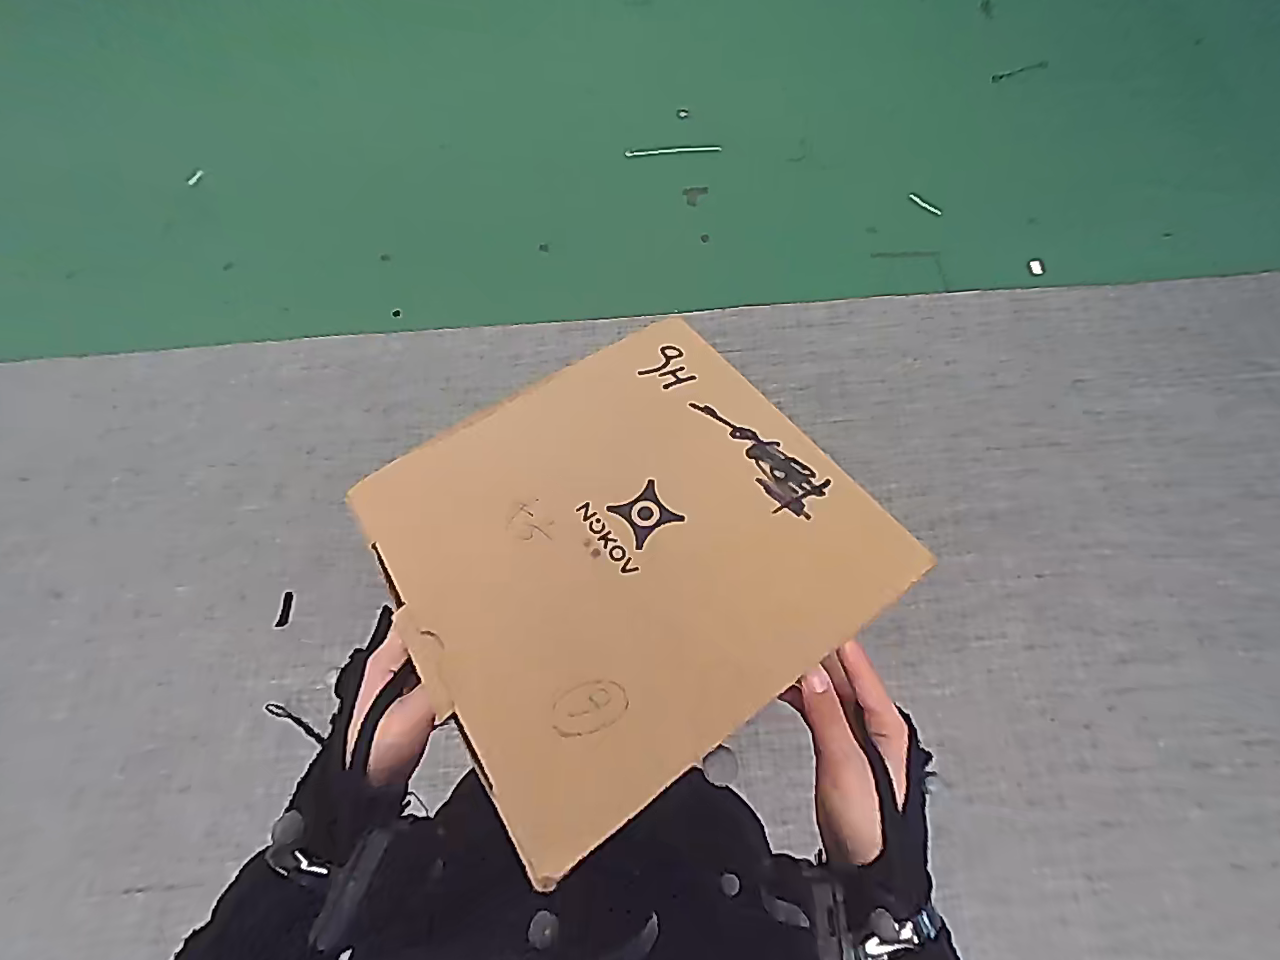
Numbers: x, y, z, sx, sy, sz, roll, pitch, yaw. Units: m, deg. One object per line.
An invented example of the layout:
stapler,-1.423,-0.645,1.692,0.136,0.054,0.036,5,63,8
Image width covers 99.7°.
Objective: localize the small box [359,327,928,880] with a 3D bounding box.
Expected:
small box,-0.001,0.062,0.284,0.179,0.176,0.168,-32,63,-15
